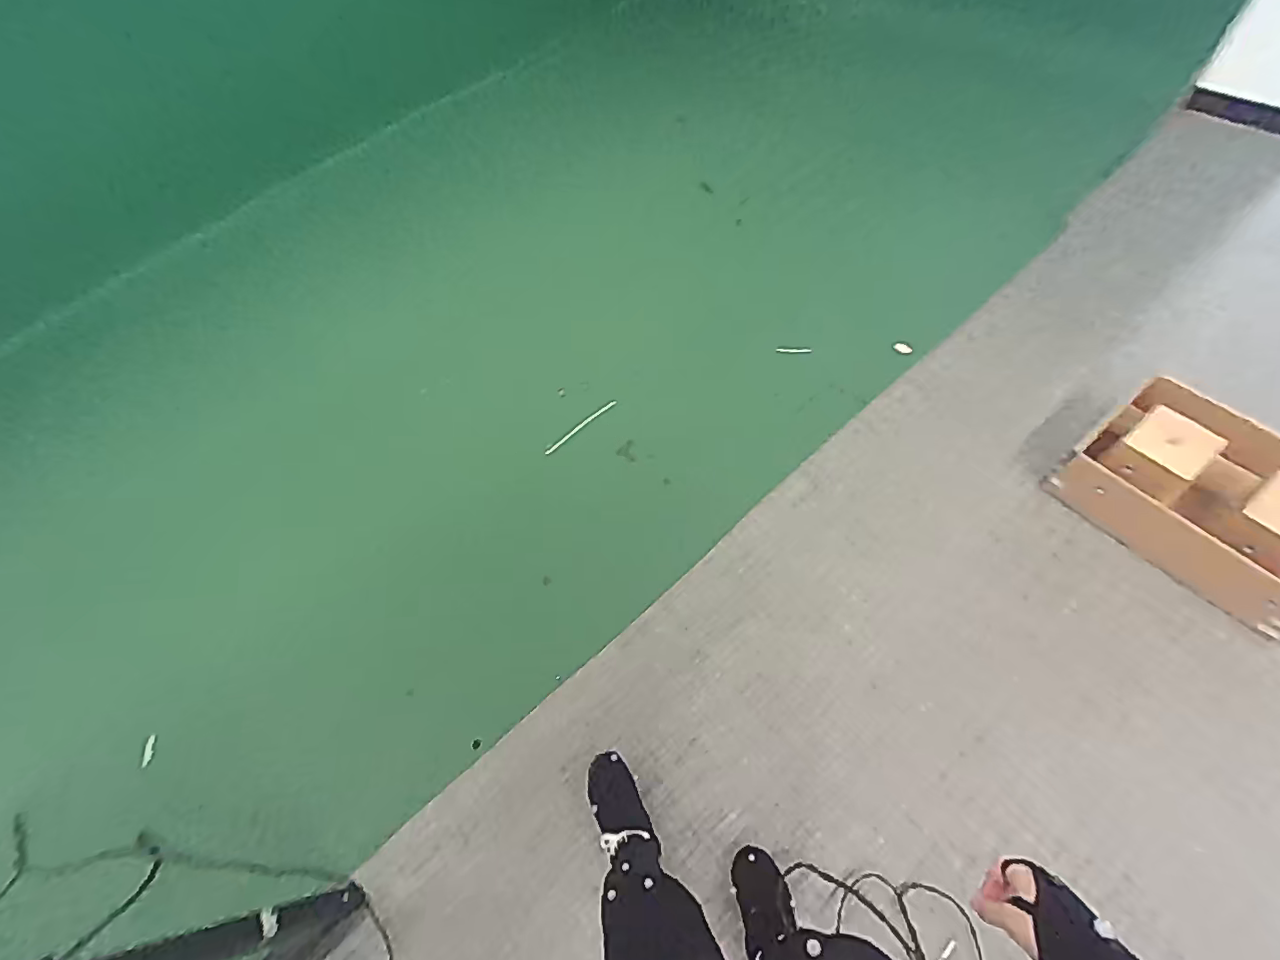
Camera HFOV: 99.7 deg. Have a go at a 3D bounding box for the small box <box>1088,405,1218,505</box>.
[{"bbox_3d":[1.377,-0.063,1.469,0.179,0.176,0.168,-38,63,-13],"label":"small box"}]

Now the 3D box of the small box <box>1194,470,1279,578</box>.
[{"bbox_3d":[1.554,0.116,1.343,0.179,0.176,0.168,-37,62,-12],"label":"small box"}]
